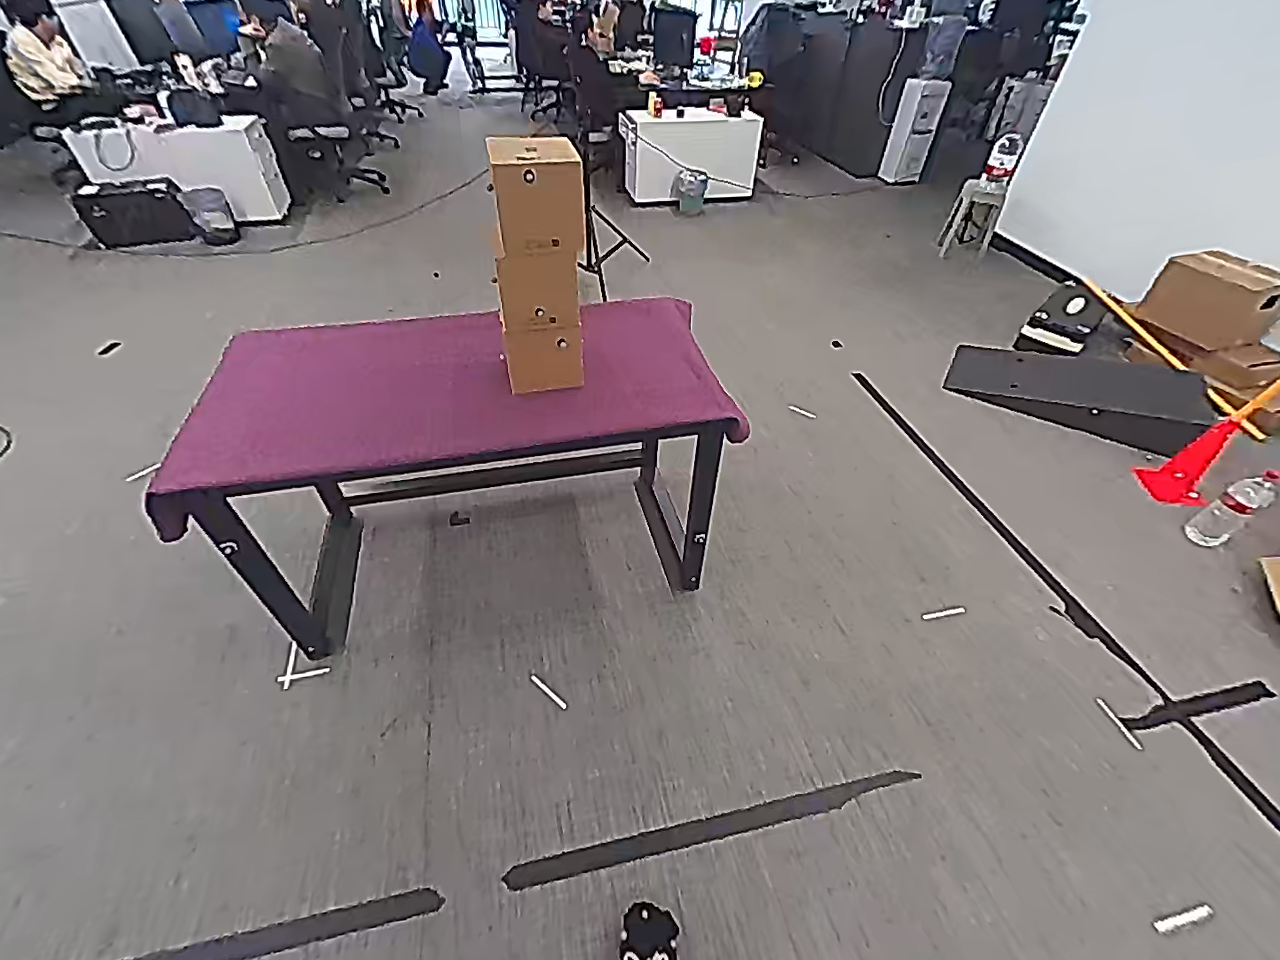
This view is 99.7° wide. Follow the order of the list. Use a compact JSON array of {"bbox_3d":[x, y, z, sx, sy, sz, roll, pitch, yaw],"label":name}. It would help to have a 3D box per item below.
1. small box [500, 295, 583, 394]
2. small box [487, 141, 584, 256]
[{"bbox_3d":[-0.236,-0.328,1.312,0.179,0.176,0.168,-10,45,-11],"label":"small box"},{"bbox_3d":[-0.209,-0.567,1.088,0.168,0.176,0.179,-10,45,-11],"label":"small box"}]
